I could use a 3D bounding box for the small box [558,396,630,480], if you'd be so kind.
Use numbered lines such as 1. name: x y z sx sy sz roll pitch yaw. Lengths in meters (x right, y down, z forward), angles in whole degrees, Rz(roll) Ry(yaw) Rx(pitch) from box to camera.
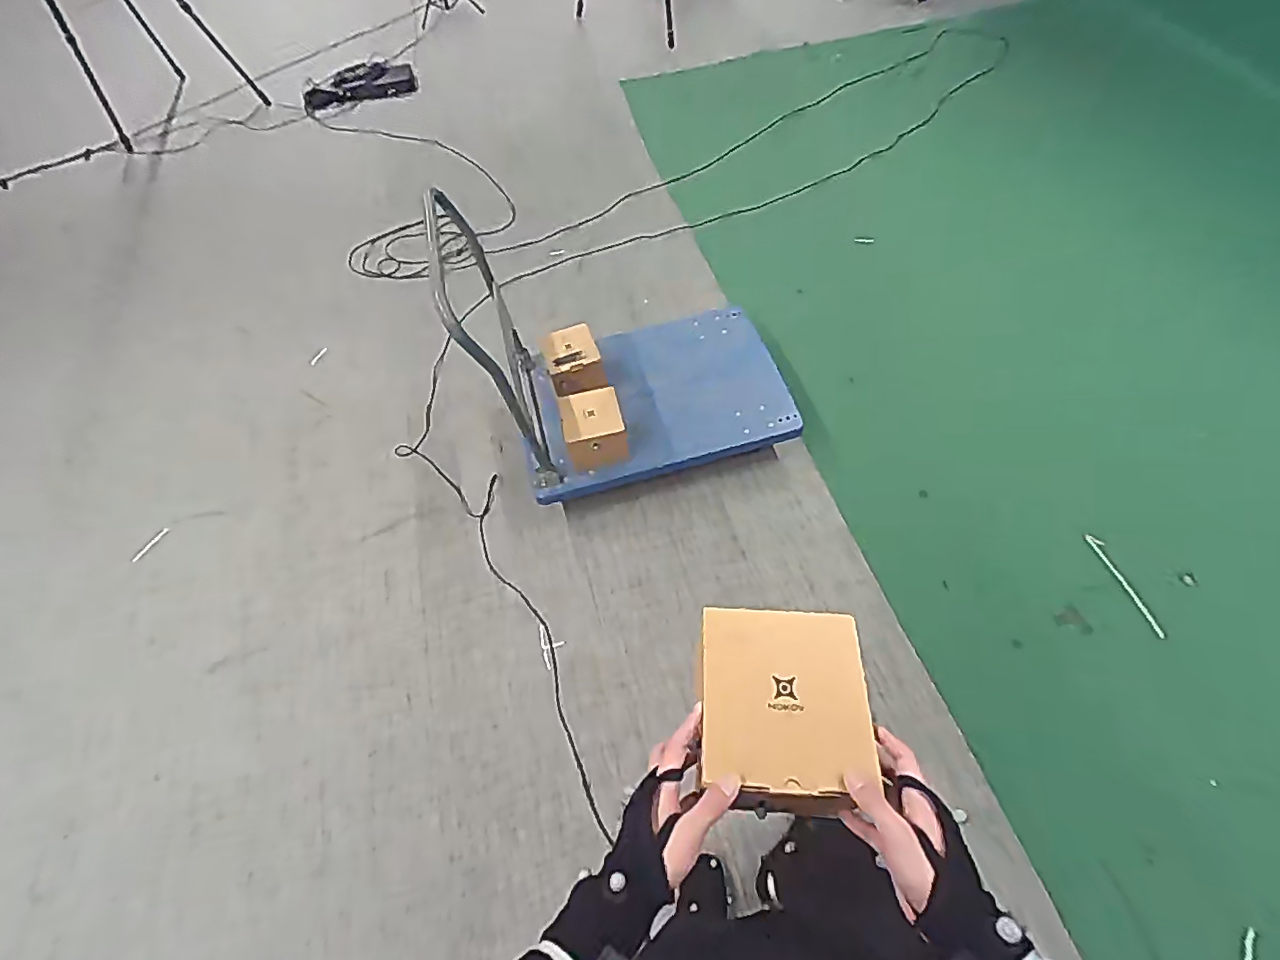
1. small box: -0.135 -0.120 1.617 0.179 0.176 0.168 -13 60 -4

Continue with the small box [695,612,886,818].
1. small box: 0.149 0.267 0.609 0.168 0.176 0.179 2 55 3
